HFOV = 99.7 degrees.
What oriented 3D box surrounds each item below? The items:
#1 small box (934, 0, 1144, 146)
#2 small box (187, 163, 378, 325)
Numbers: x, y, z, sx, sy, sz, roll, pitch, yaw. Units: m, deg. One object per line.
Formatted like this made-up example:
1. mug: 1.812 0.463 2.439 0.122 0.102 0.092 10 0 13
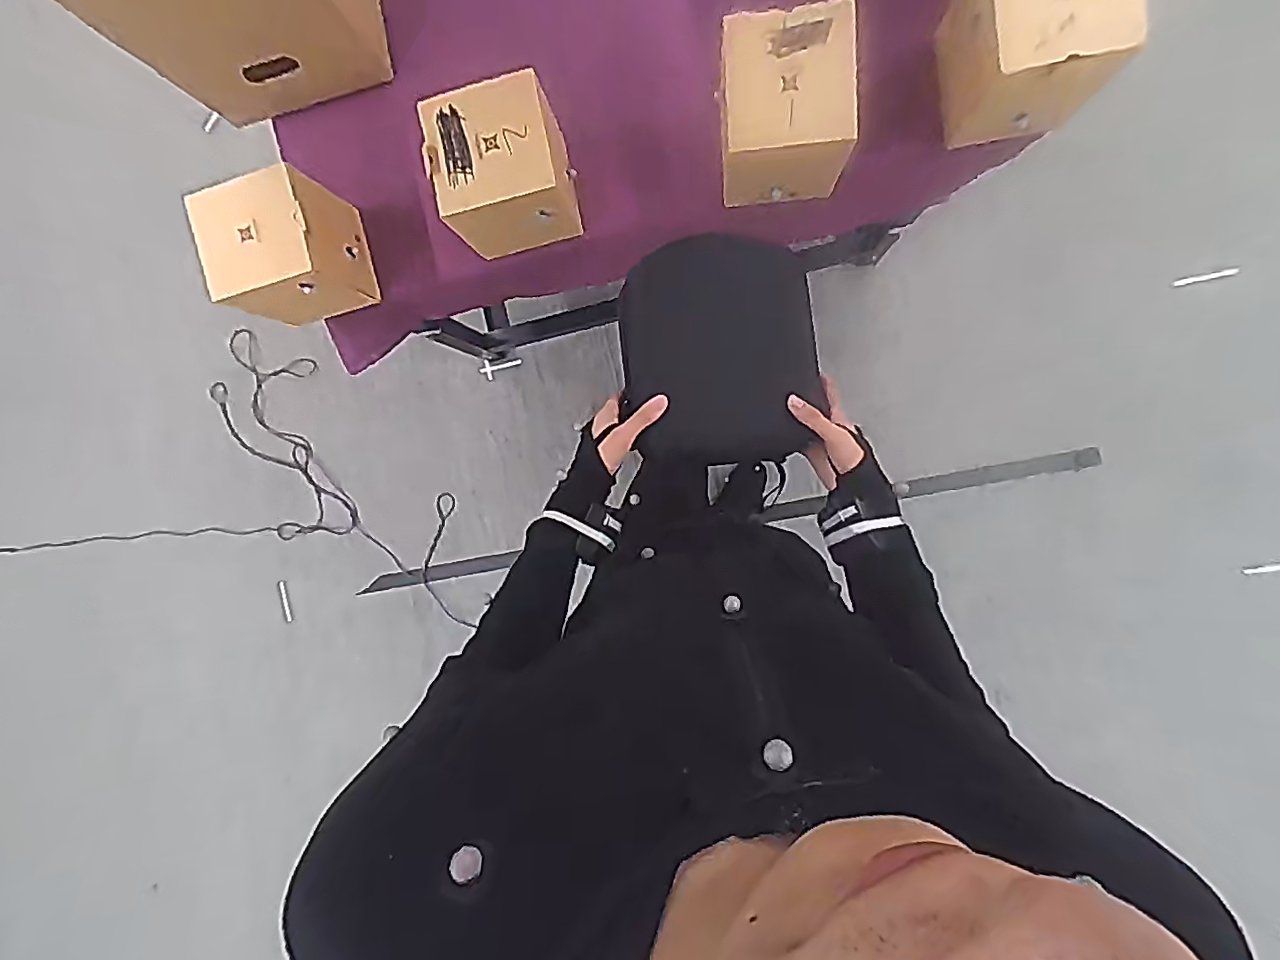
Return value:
1. small box: 0.517 -0.595 0.727 0.168 0.176 0.179 -7 92 9
2. small box: -0.568 -0.368 0.879 0.179 0.176 0.168 -14 91 7
